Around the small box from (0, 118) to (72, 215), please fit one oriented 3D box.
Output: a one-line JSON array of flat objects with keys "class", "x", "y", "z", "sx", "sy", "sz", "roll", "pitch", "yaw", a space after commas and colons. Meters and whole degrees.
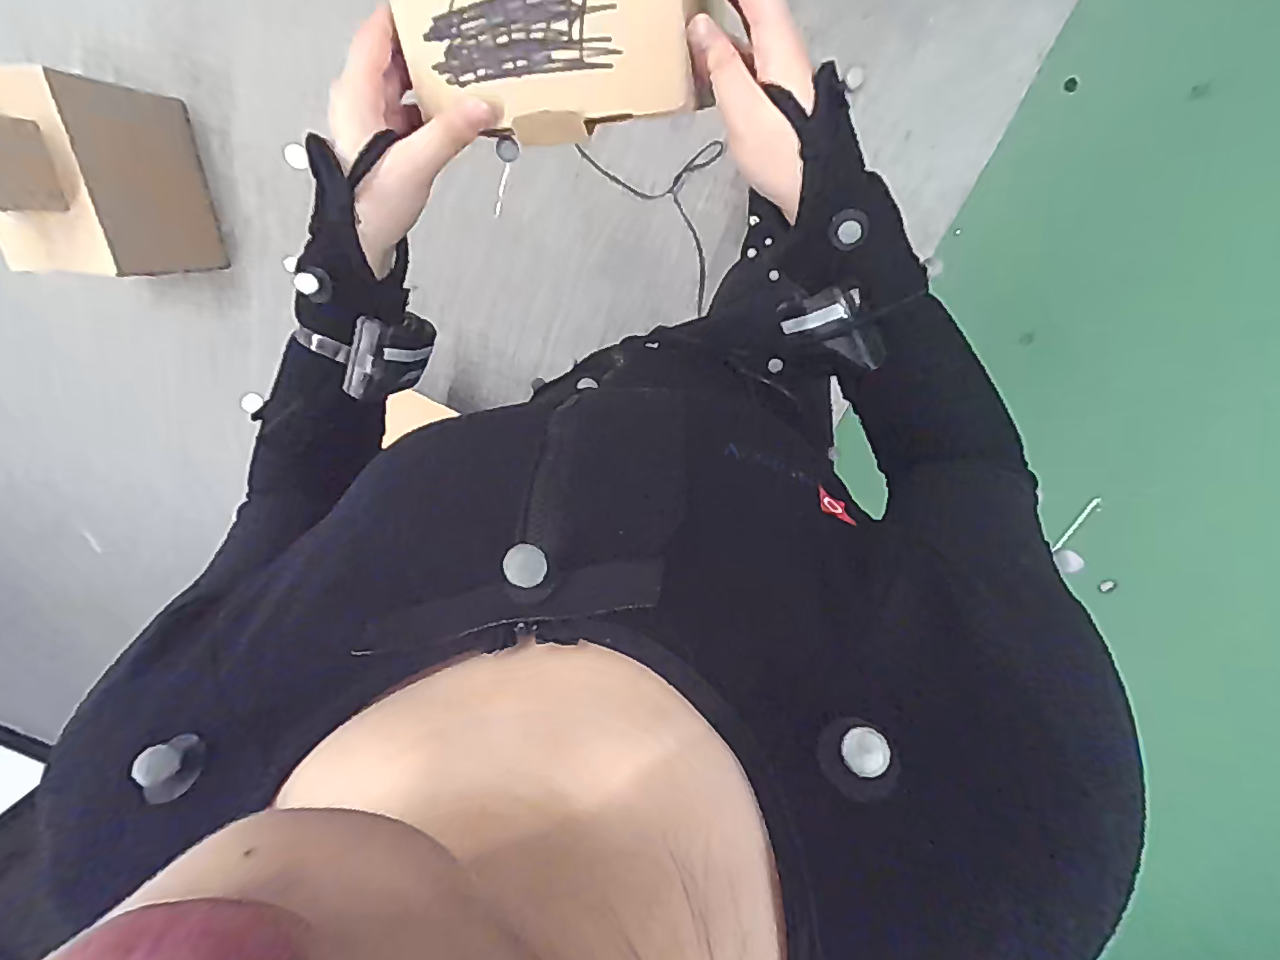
[{"class": "small box", "x": -1.351, "y": -0.647, "z": 1.115, "sx": 0.168, "sy": 0.176, "sz": 0.179, "roll": 5, "pitch": 114, "yaw": 8}]
